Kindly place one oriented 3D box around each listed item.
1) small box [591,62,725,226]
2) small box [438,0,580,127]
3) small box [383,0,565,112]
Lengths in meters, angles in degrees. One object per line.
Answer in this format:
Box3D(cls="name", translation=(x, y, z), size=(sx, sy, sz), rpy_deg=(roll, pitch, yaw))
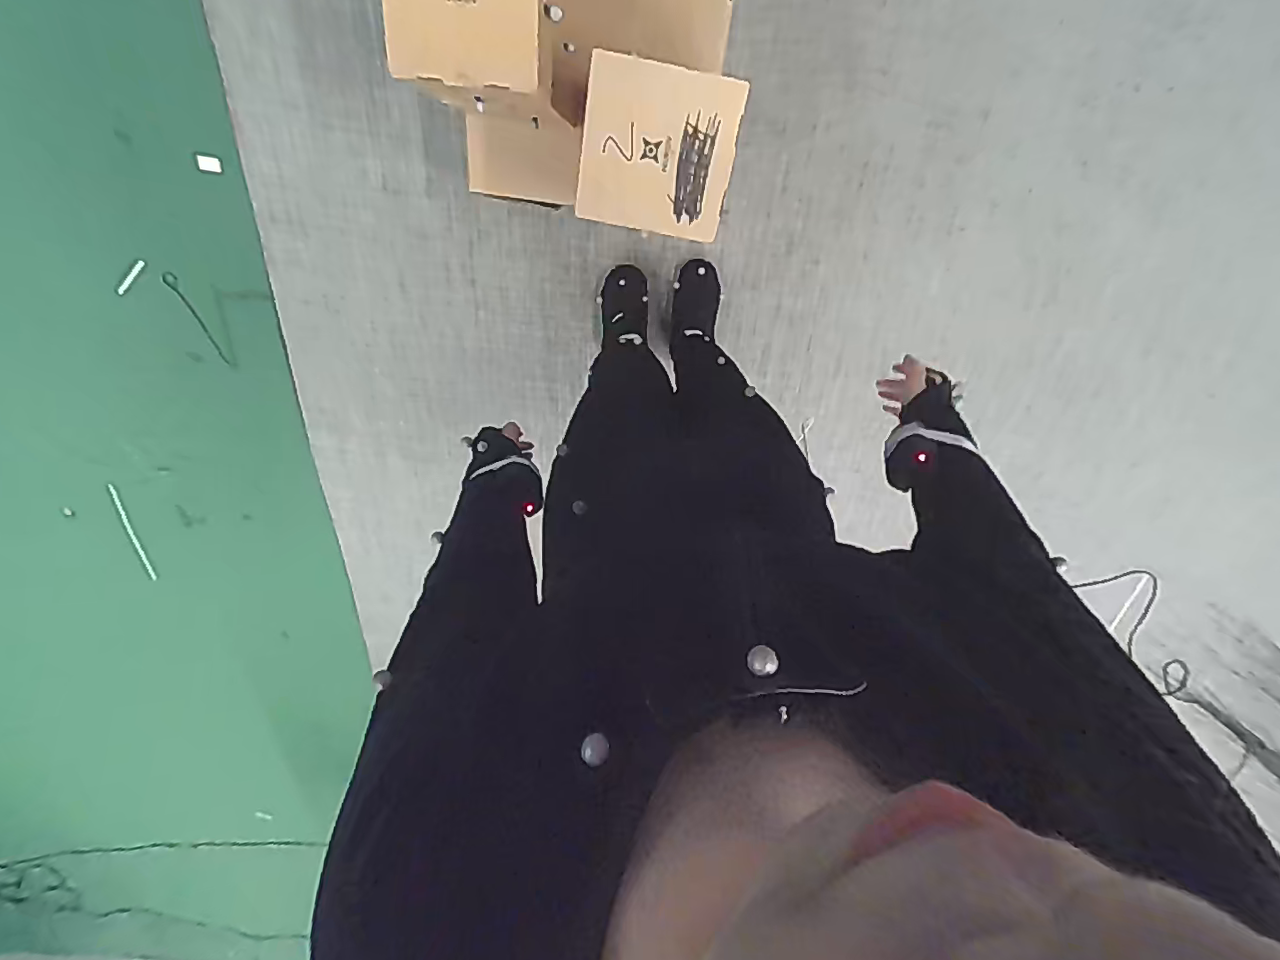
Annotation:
Box3D(cls="small box", translation=(0.022, -0.498, 0.826), size=(0.168, 0.176, 0.179), rpy_deg=(9, 117, -3))
Box3D(cls="small box", translation=(-0.181, -0.622, 0.770), size=(0.168, 0.176, 0.179), rpy_deg=(7, 117, -2))
Box3D(cls="small box", translation=(-0.182, -0.548, 0.624), size=(0.168, 0.176, 0.179), rpy_deg=(7, 119, -2))
